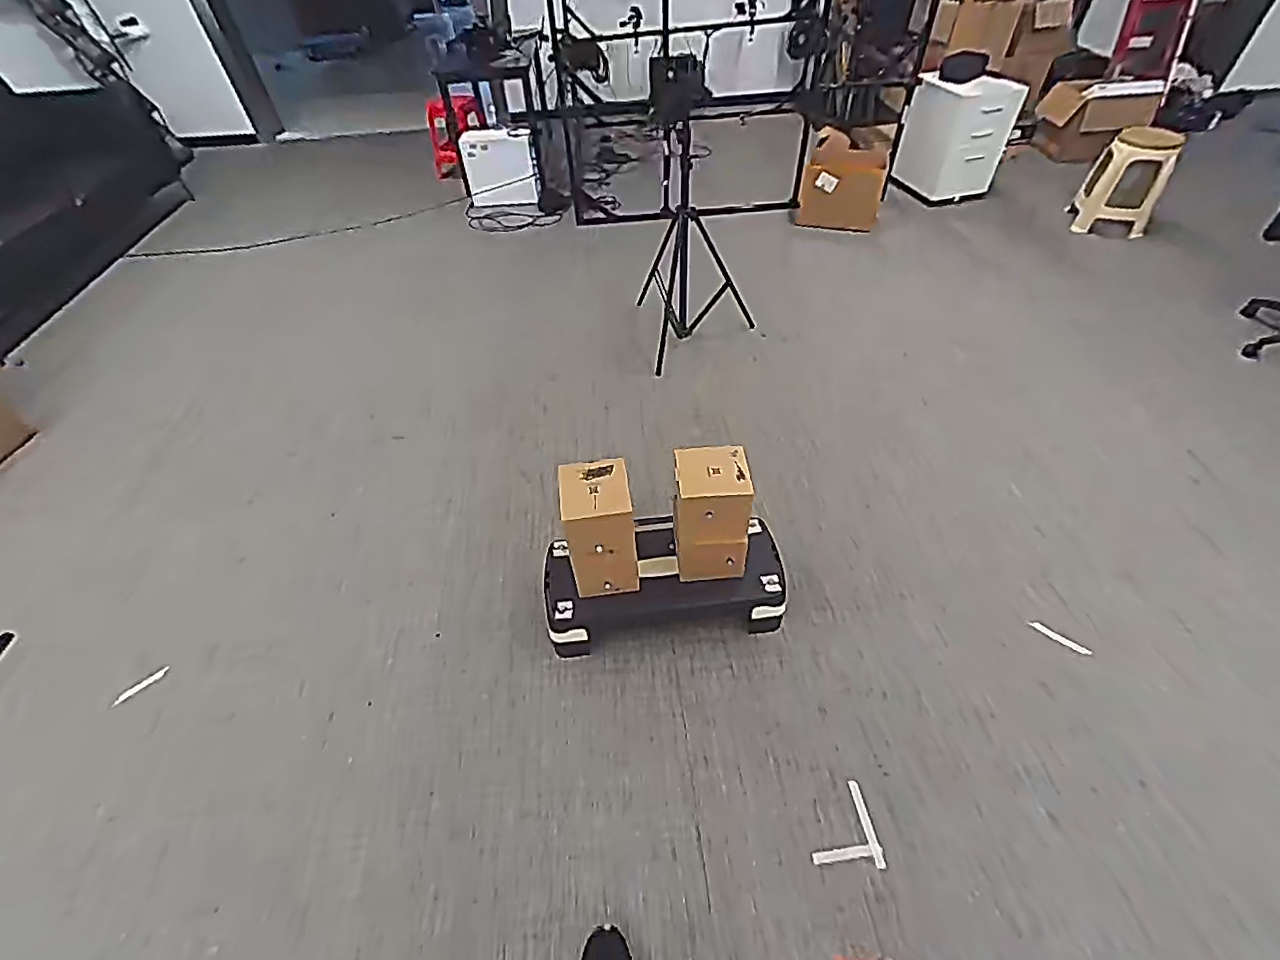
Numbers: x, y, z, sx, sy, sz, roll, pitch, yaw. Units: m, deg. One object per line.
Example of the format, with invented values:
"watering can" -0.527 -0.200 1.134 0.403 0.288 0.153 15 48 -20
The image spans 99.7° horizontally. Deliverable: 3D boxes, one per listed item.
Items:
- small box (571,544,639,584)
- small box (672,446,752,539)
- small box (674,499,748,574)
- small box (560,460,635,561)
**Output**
"small box" -0.095 0.190 1.455 0.168 0.176 0.179 -7 48 -2
"small box" 0.177 0.036 1.361 0.179 0.176 0.168 -4 47 1
"small box" 0.184 0.157 1.470 0.179 0.176 0.168 -5 48 0
"small box" -0.105 0.076 1.337 0.168 0.176 0.179 -8 48 -4
